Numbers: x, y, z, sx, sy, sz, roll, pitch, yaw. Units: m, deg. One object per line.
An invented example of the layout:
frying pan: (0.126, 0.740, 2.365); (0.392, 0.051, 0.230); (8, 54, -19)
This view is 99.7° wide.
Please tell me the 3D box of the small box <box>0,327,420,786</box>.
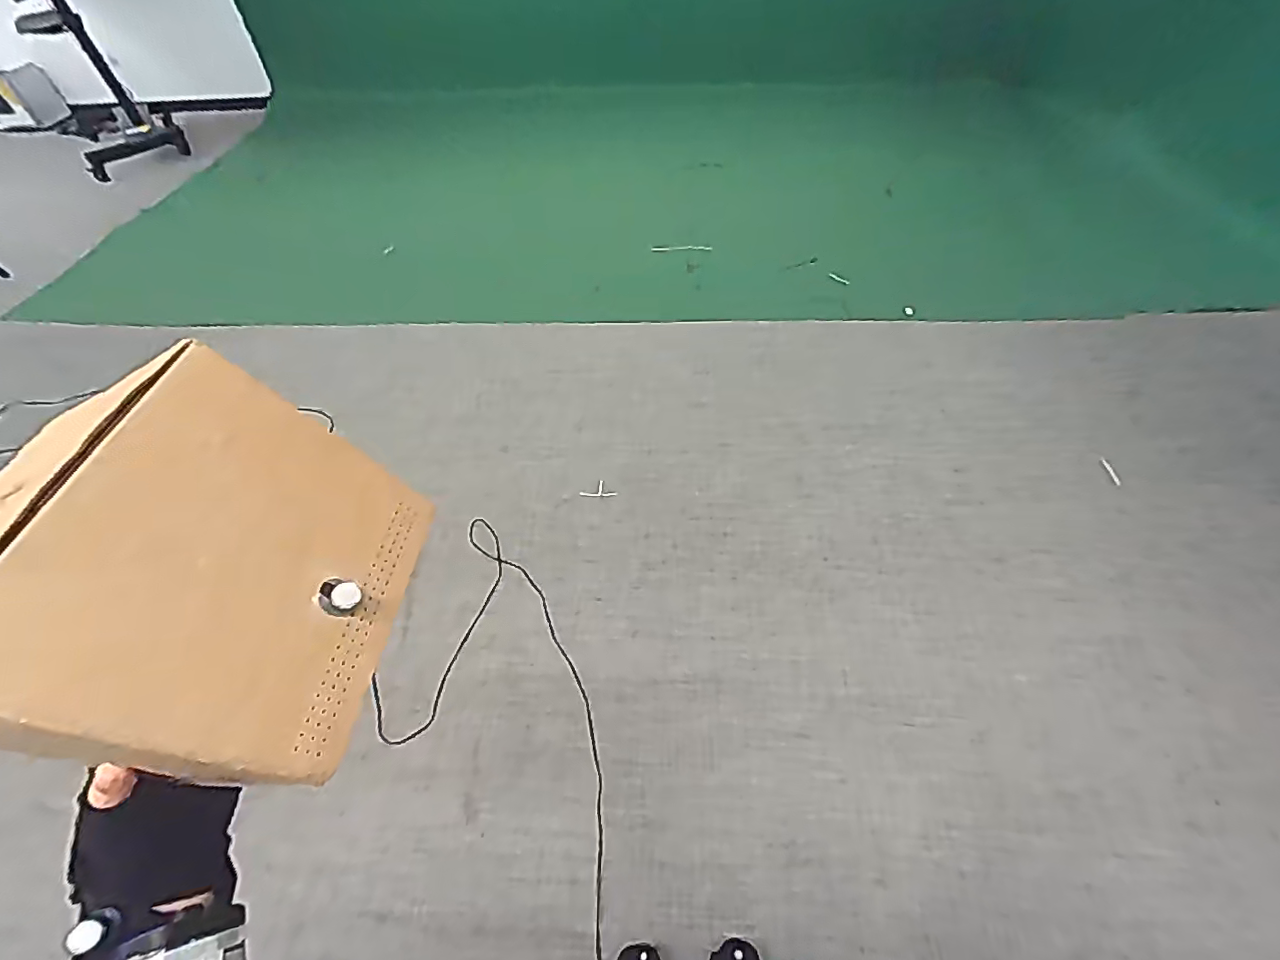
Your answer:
small box: (-0.257, 0.055, 0.302); (0.168, 0.176, 0.179); (-14, 49, 26)
